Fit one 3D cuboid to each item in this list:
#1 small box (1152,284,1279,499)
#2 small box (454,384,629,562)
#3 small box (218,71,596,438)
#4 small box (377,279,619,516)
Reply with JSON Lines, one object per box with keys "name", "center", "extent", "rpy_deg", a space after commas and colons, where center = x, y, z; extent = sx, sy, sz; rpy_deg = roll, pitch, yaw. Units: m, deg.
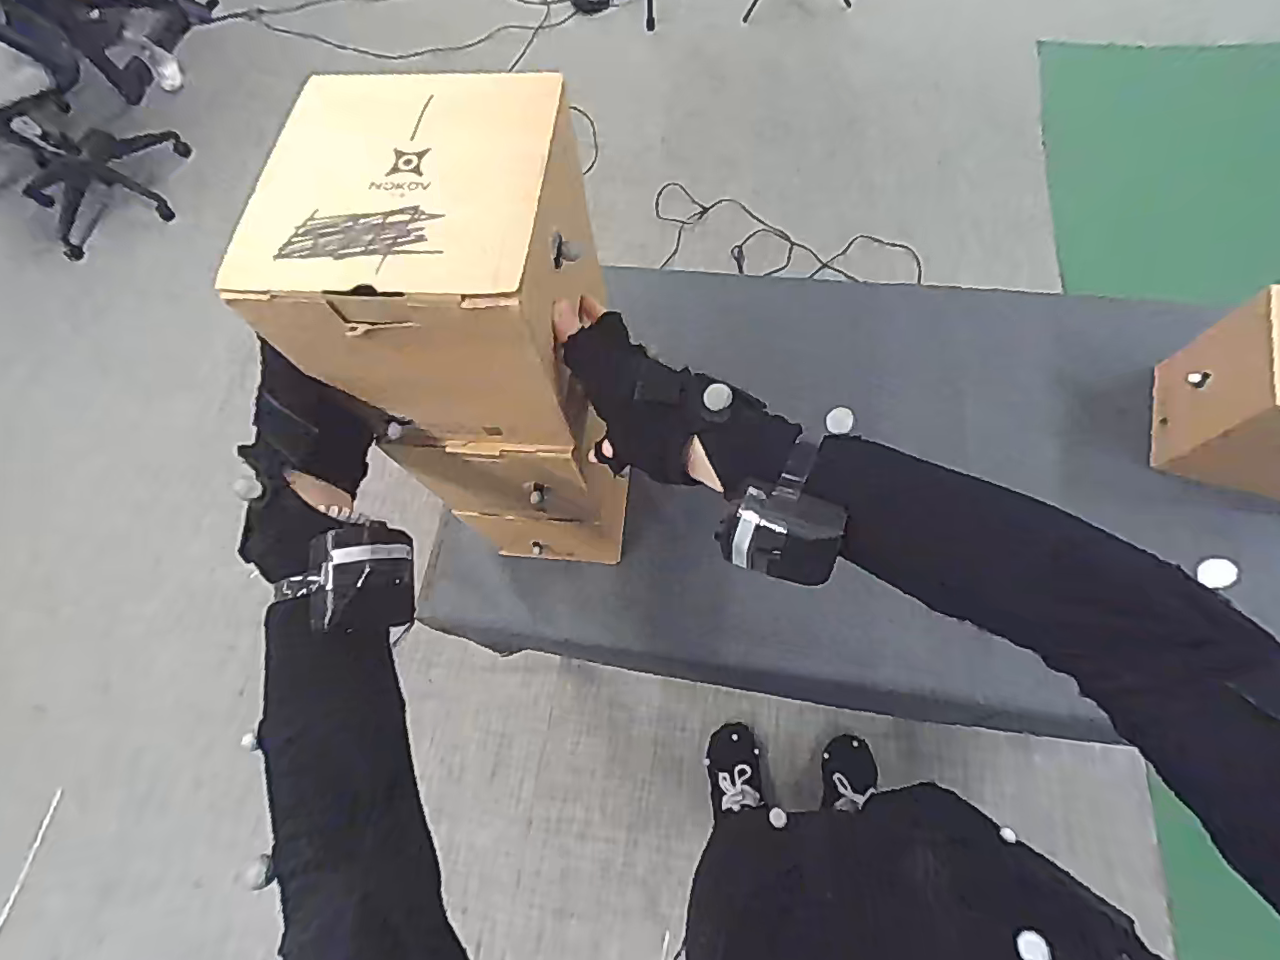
{"name": "small box", "center": [0.758, -0.093, 0.633], "extent": [0.179, 0.176, 0.168], "rpy_deg": [18, 71, 12]}
{"name": "small box", "center": [-0.106, -0.008, 0.677], "extent": [0.168, 0.176, 0.179], "rpy_deg": [4, 68, 6]}
{"name": "small box", "center": [-0.128, -0.142, 0.379], "extent": [0.168, 0.176, 0.179], "rpy_deg": [3, 68, 5]}
{"name": "small box", "center": [-0.116, -0.073, 0.527], "extent": [0.168, 0.176, 0.179], "rpy_deg": [4, 68, 6]}
